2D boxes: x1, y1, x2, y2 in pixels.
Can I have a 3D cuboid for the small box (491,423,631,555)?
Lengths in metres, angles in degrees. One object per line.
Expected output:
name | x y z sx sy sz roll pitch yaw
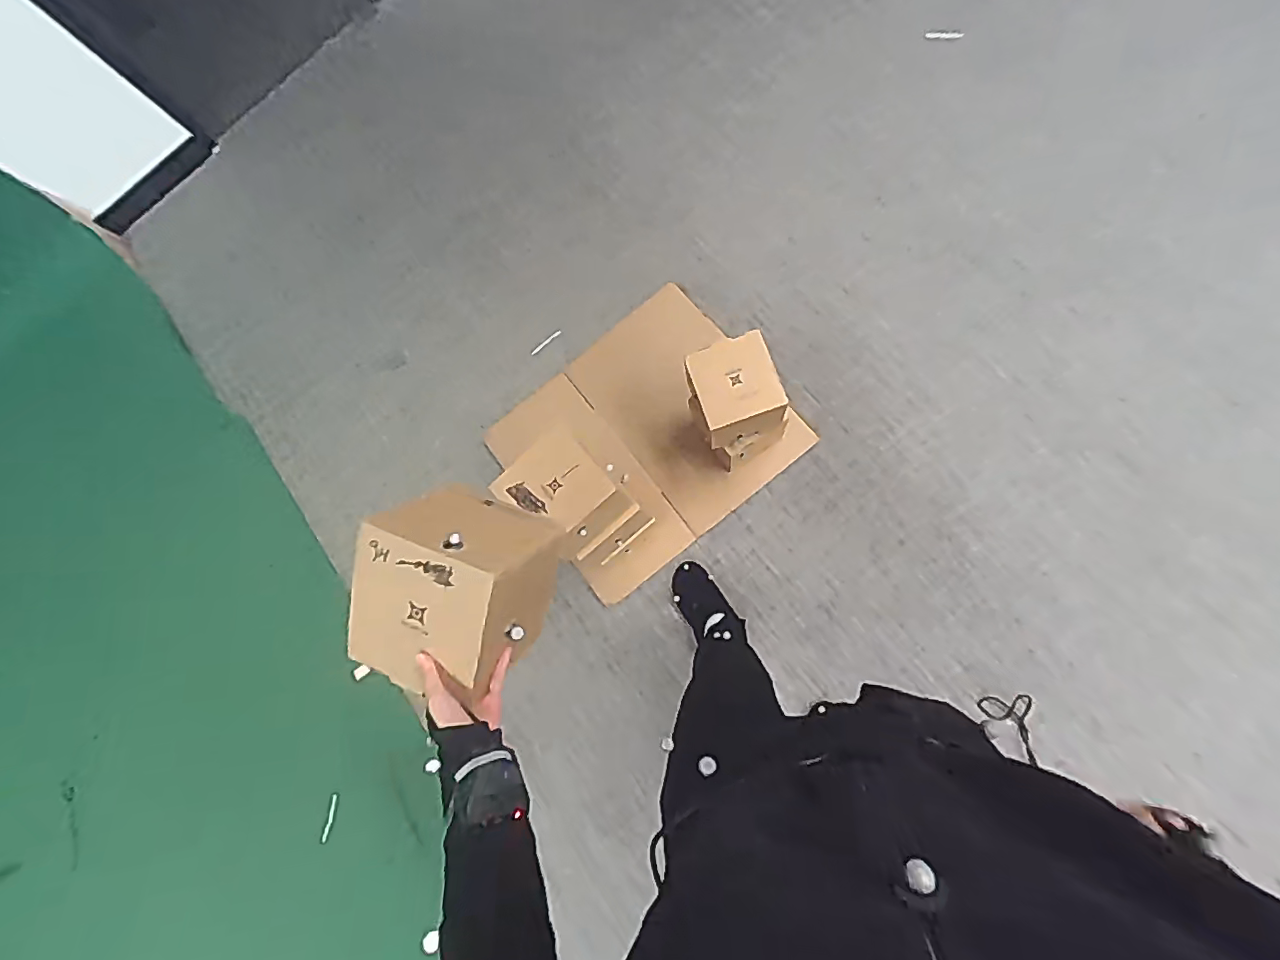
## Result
small box | -0.138 0.027 1.016 0.179 0.176 0.168 -41 75 0

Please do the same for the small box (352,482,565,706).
small box | -0.207 0.122 0.646 0.168 0.176 0.179 20 108 13

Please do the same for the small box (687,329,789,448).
small box | 0.206 -0.190 1.165 0.168 0.176 0.179 -19 77 5

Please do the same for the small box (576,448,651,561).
small box | -0.096 0.060 1.172 0.168 0.176 0.179 -40 75 0

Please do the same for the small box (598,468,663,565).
small box | -0.062 0.093 1.330 0.168 0.176 0.179 -41 75 0
